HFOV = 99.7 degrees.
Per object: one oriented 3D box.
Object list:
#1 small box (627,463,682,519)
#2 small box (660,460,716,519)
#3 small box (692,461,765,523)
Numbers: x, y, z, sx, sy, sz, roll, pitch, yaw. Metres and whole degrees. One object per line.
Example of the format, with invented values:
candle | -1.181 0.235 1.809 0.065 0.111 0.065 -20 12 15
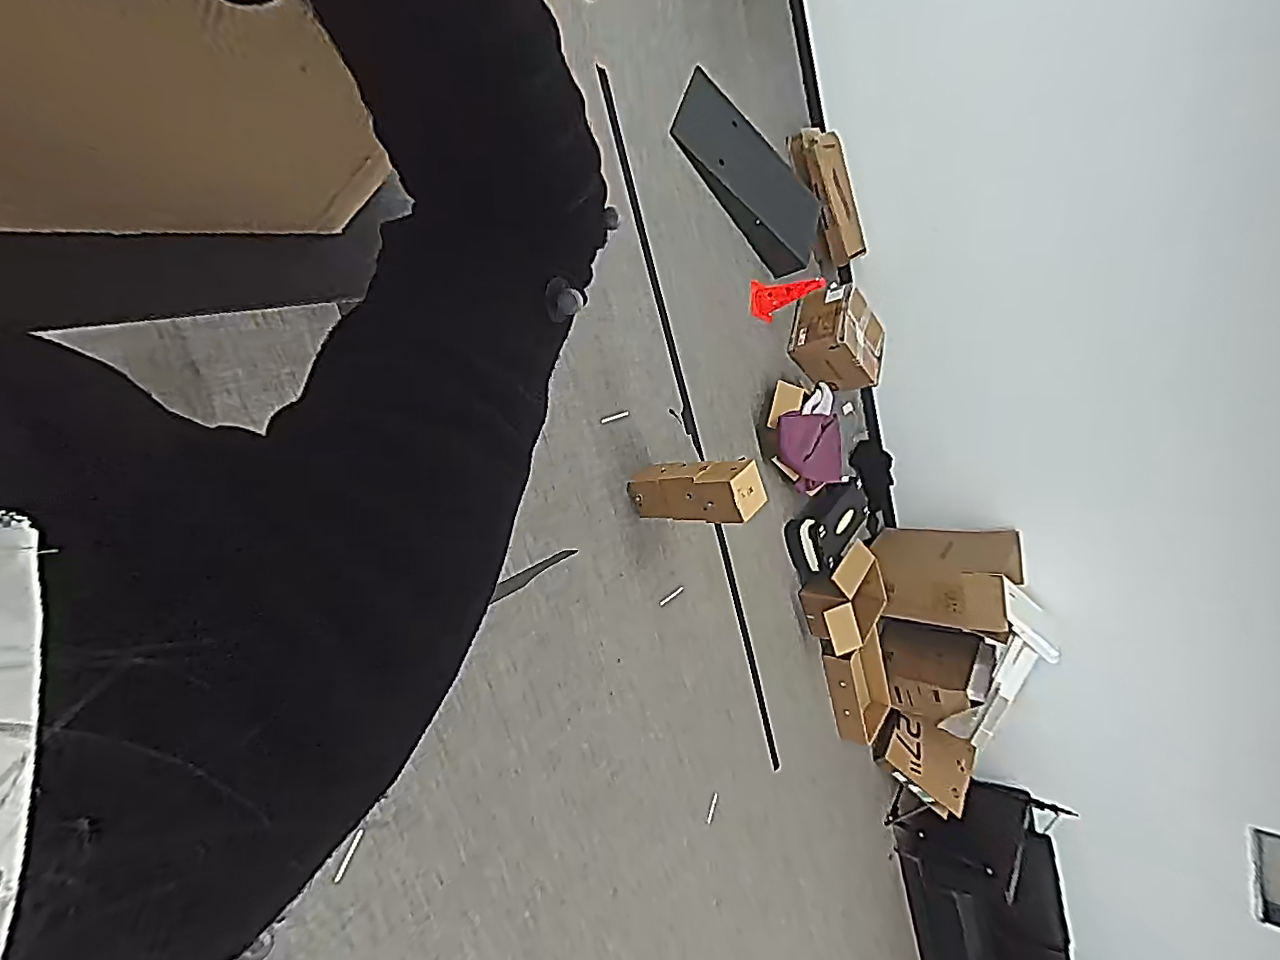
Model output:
small box | 0.078 0.043 2.163 0.179 0.176 0.168 -34 111 -40
small box | 0.198 0.039 2.050 0.168 0.176 0.179 -32 110 -41
small box | 0.314 0.042 1.933 0.179 0.176 0.168 -36 112 -40
